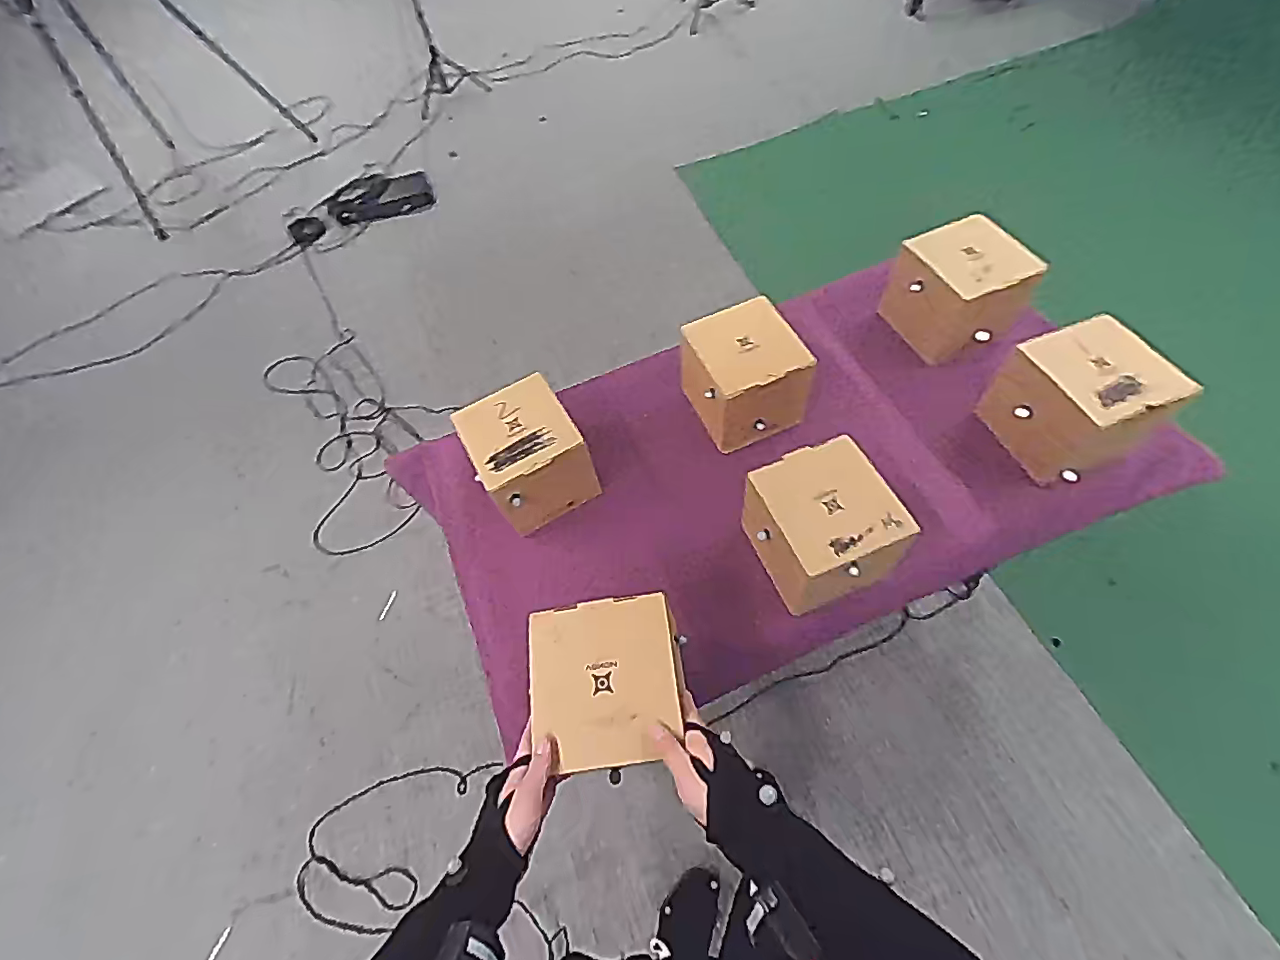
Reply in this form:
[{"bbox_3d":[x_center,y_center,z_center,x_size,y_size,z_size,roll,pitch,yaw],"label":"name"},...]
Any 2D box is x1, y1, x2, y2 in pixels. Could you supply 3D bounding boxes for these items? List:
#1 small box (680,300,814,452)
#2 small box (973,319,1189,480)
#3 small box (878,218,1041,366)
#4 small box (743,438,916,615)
[{"bbox_3d":[0.179,-0.182,0.969,0.168,0.176,0.179,-23,61,-8],"label":"small box"},{"bbox_3d":[0.691,-0.120,0.875,0.168,0.176,0.179,-19,58,-4],"label":"small box"},{"bbox_3d":[0.584,-0.349,1.020,0.168,0.176,0.179,-22,61,-6],"label":"small box"},{"bbox_3d":[0.265,0.074,0.809,0.168,0.176,0.179,-21,58,-6],"label":"small box"}]
